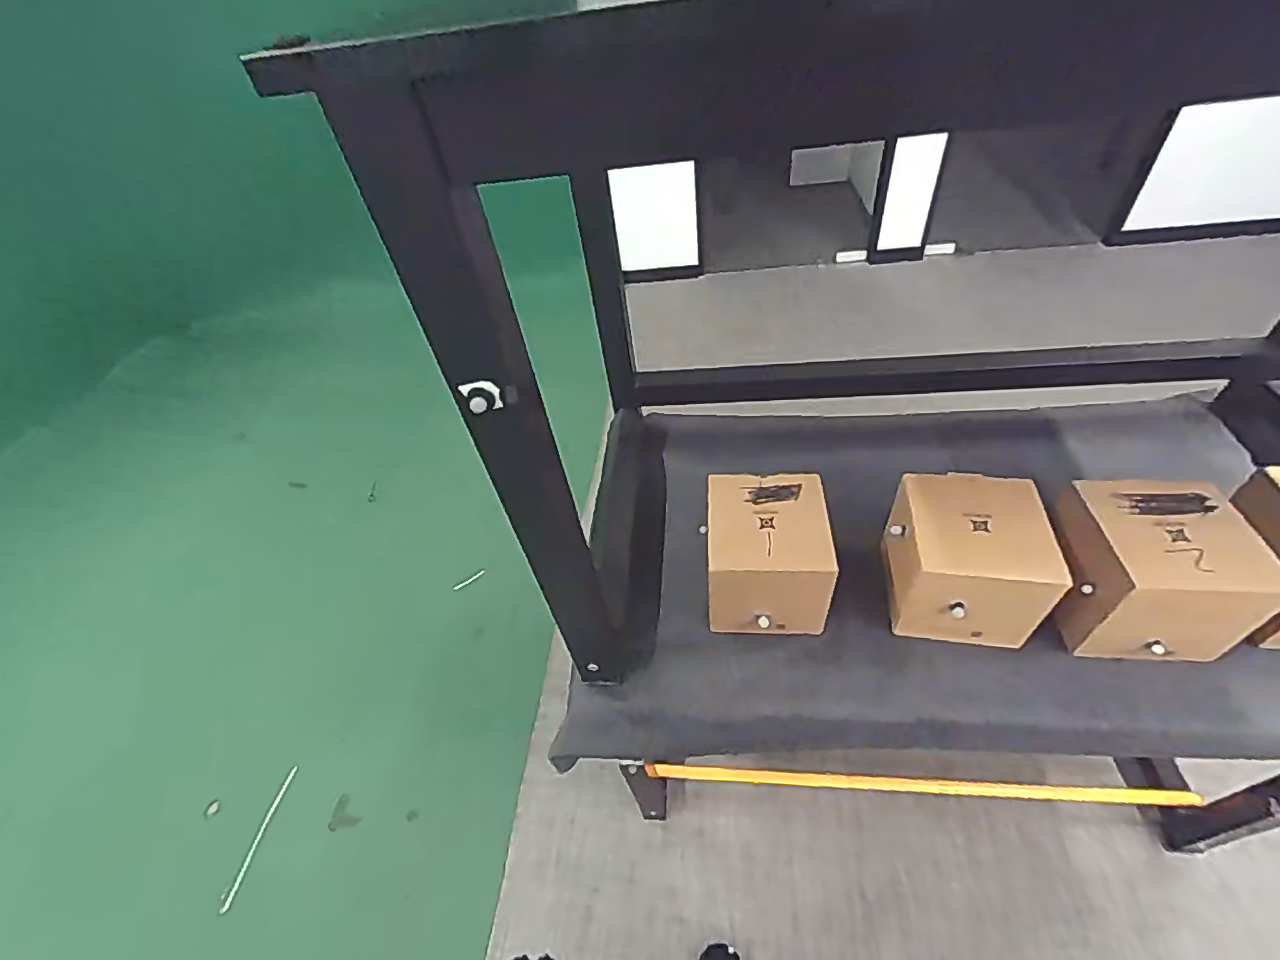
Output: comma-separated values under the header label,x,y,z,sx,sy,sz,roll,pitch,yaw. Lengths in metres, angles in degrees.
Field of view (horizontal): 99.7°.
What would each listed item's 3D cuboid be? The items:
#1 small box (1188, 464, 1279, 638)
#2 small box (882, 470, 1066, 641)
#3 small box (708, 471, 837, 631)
label,x,y,z,sx,sy,sz,roll,pitch,yaw
small box,0.889,0.099,0.698,0.168,0.176,0.179,1,46,10
small box,0.453,0.108,0.767,0.168,0.176,0.179,4,47,13
small box,0.186,0.105,0.811,0.168,0.176,0.179,-1,47,8
